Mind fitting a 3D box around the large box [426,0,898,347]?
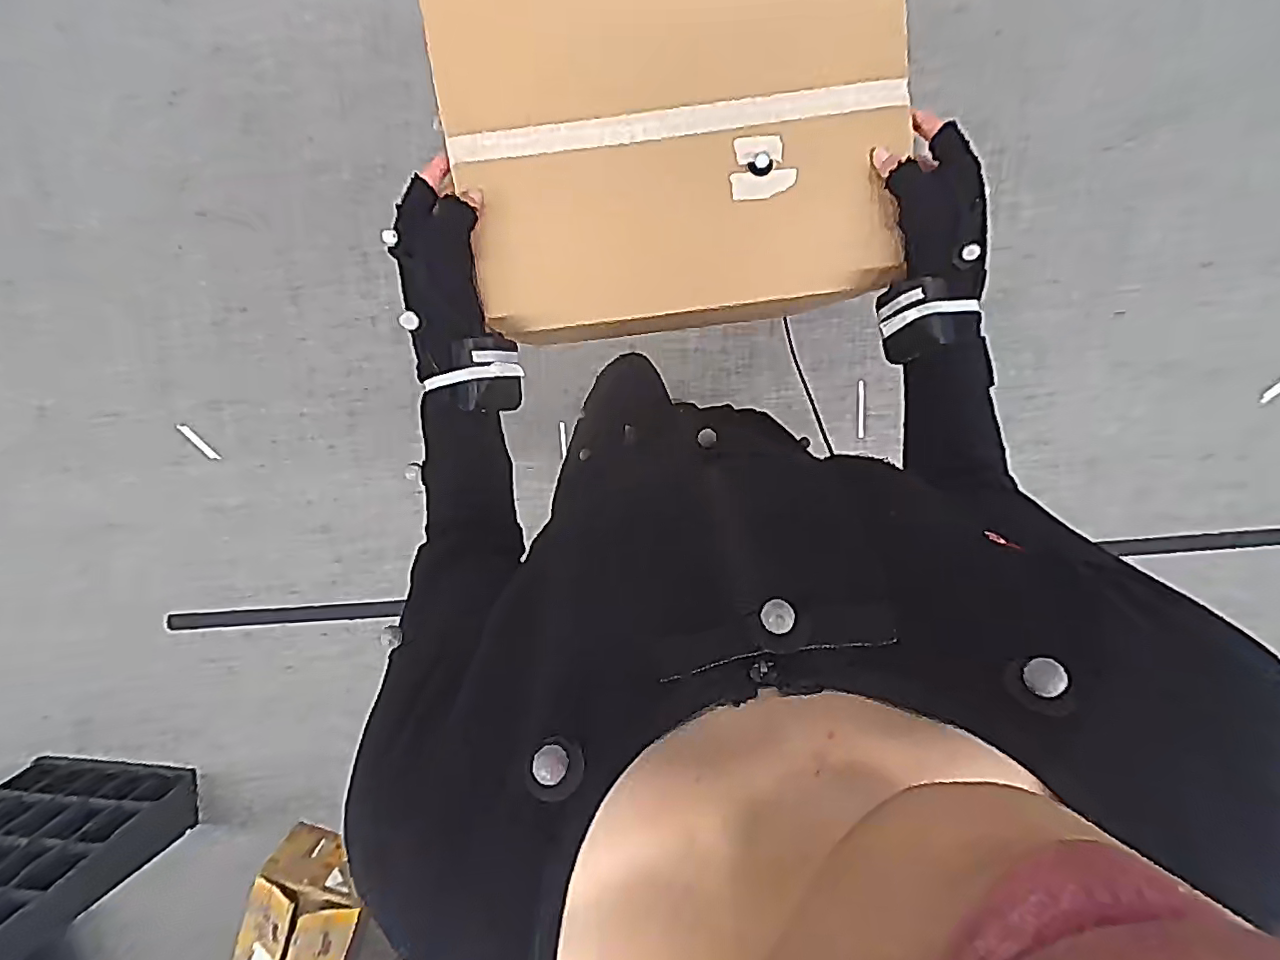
[{"bbox_3d":[0.023,-0.346,0.631,0.408,0.320,0.320,-8,102,-1],"label":"large box"}]
